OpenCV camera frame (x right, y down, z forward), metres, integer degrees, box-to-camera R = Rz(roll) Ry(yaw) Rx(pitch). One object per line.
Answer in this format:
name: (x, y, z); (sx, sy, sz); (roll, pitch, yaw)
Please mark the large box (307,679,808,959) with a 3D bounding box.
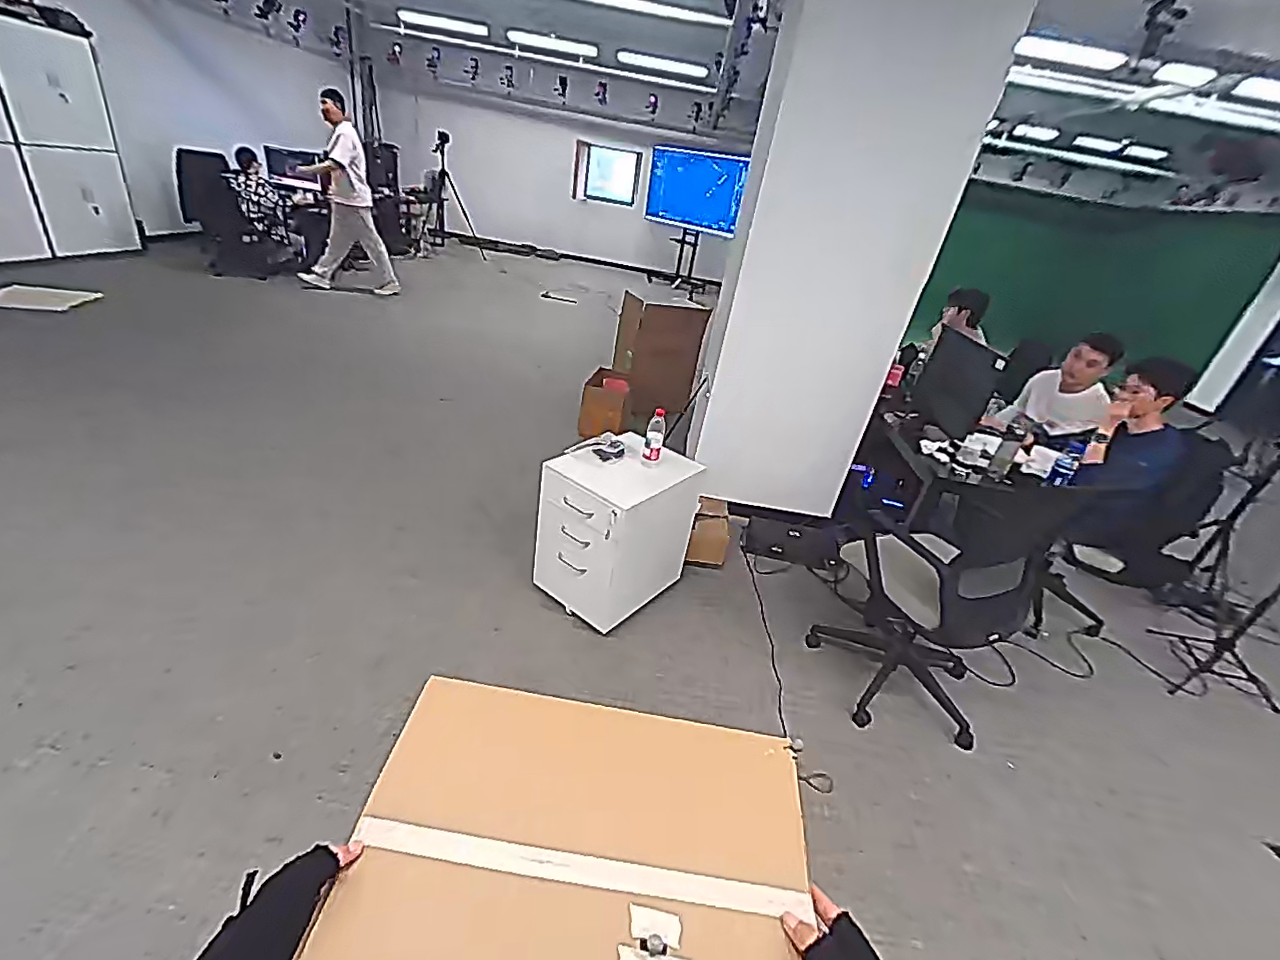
large box: (-0.071, 0.463, 0.575); (0.408, 0.320, 0.320); (11, 37, 1)
